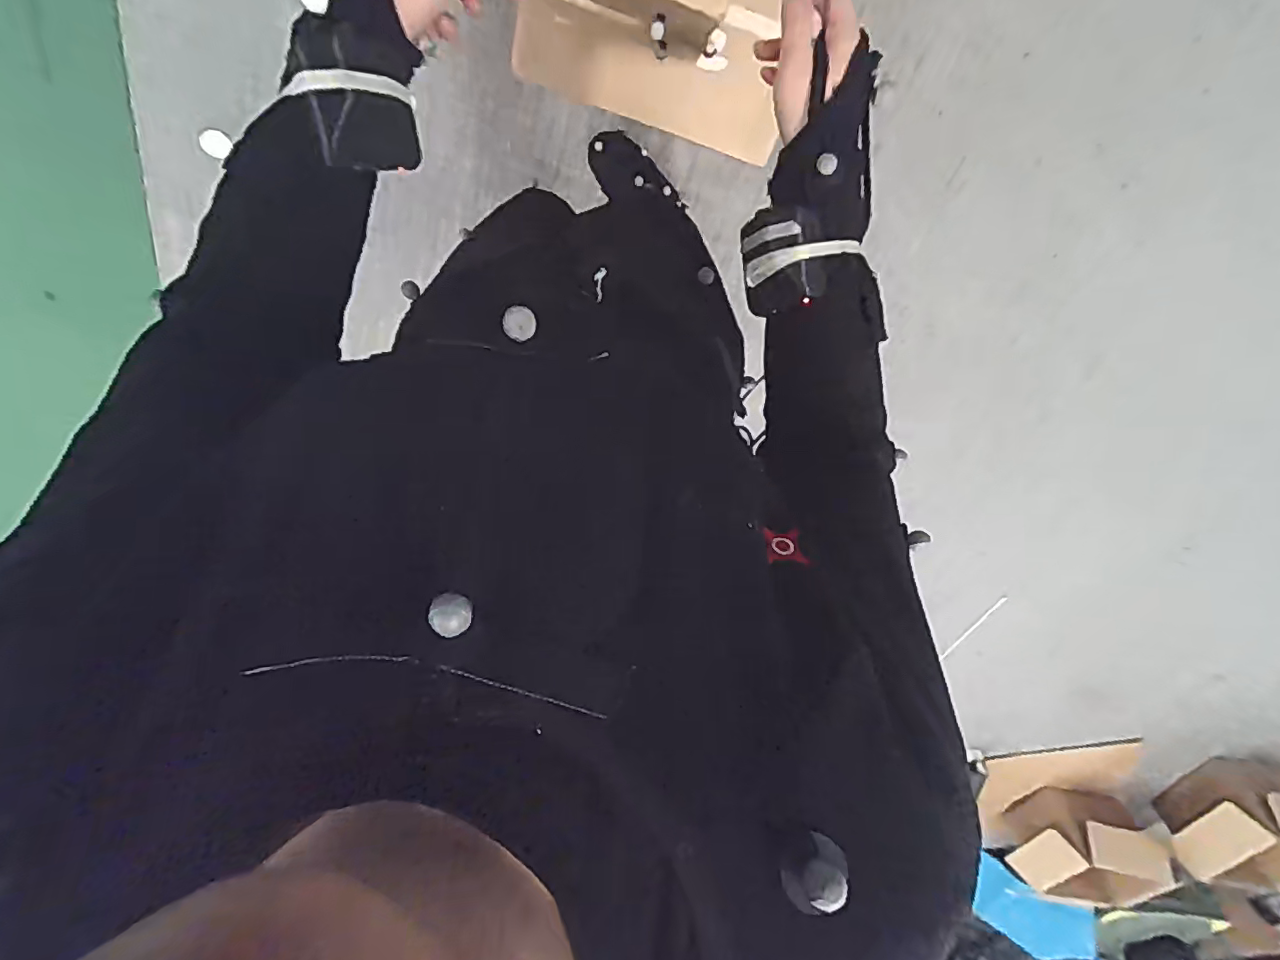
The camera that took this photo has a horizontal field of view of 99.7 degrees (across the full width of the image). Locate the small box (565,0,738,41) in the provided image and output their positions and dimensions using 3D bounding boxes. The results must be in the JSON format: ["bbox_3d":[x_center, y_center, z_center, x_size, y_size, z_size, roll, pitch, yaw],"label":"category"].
[{"bbox_3d":[0.000,-0.435,0.374,0.179,0.176,0.168,14,122,-7],"label":"small box"}]

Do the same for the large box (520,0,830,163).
[{"bbox_3d":[0.055,-0.742,0.853,0.408,0.320,0.320,14,125,-9],"label":"large box"}]

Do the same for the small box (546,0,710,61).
[{"bbox_3d":[0.002,-0.524,0.511,0.179,0.176,0.168,14,124,-8],"label":"small box"}]
